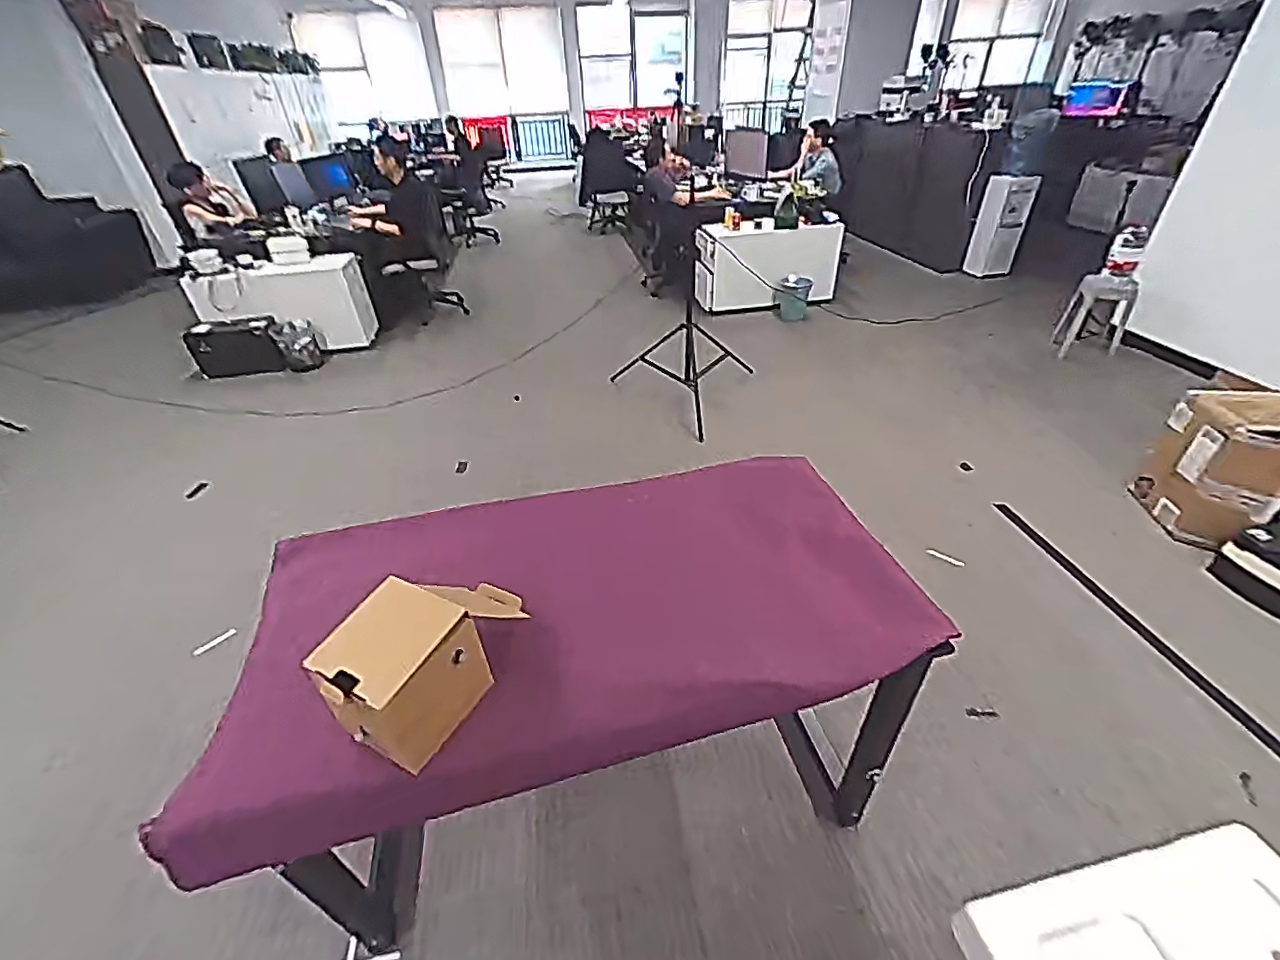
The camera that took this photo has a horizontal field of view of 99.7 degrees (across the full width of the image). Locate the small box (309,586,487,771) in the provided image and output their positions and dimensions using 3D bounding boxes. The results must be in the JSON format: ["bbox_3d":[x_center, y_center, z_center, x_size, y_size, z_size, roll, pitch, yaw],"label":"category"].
[{"bbox_3d":[-0.358,0.303,0.839,0.168,0.176,0.179,14,39,25],"label":"small box"}]
